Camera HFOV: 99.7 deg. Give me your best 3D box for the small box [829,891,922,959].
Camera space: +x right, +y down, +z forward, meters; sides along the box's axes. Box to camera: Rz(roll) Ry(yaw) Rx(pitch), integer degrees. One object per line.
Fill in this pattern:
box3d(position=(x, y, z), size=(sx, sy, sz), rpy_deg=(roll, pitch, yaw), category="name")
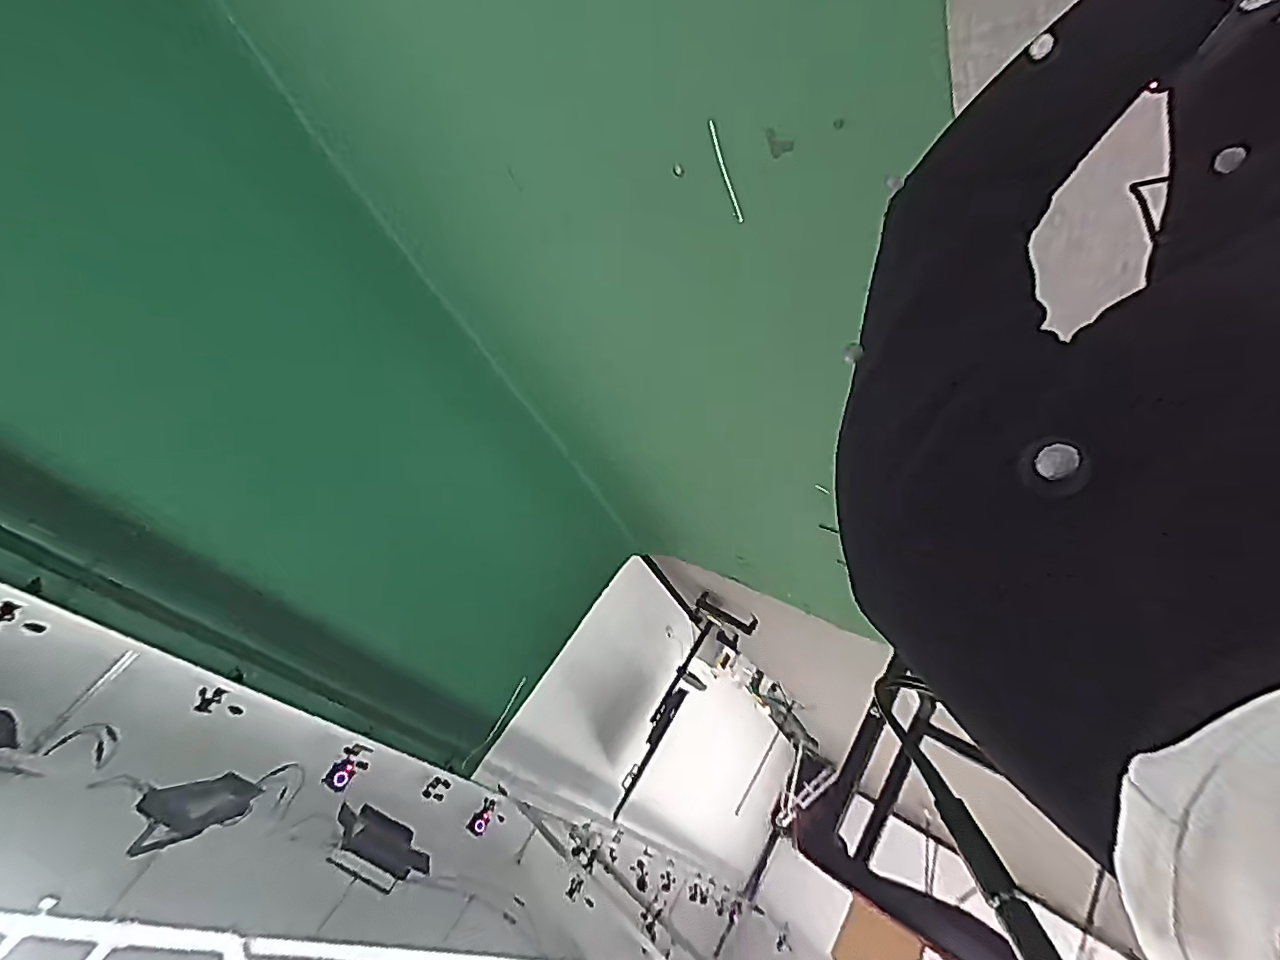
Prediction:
box3d(position=(0.635, 1.245, 1.442), size=(0.179, 0.176, 0.168), rpy_deg=(16, 152, 42), category="small box")
